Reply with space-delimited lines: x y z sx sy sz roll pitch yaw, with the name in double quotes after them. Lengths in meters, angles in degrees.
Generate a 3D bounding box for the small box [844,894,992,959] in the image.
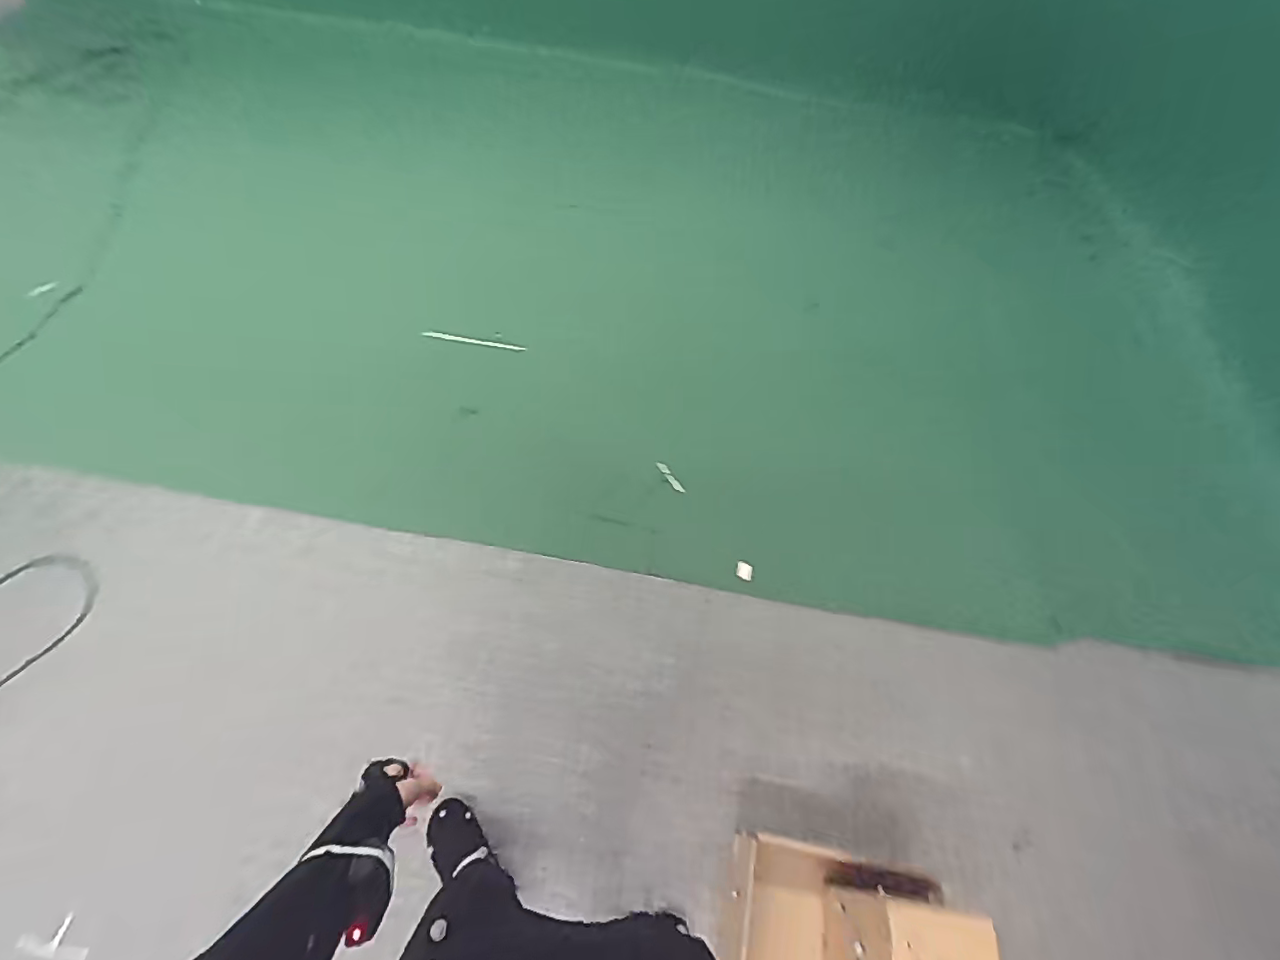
0.462 0.819 0.908 0.179 0.176 0.168 9 58 3 "small box"
